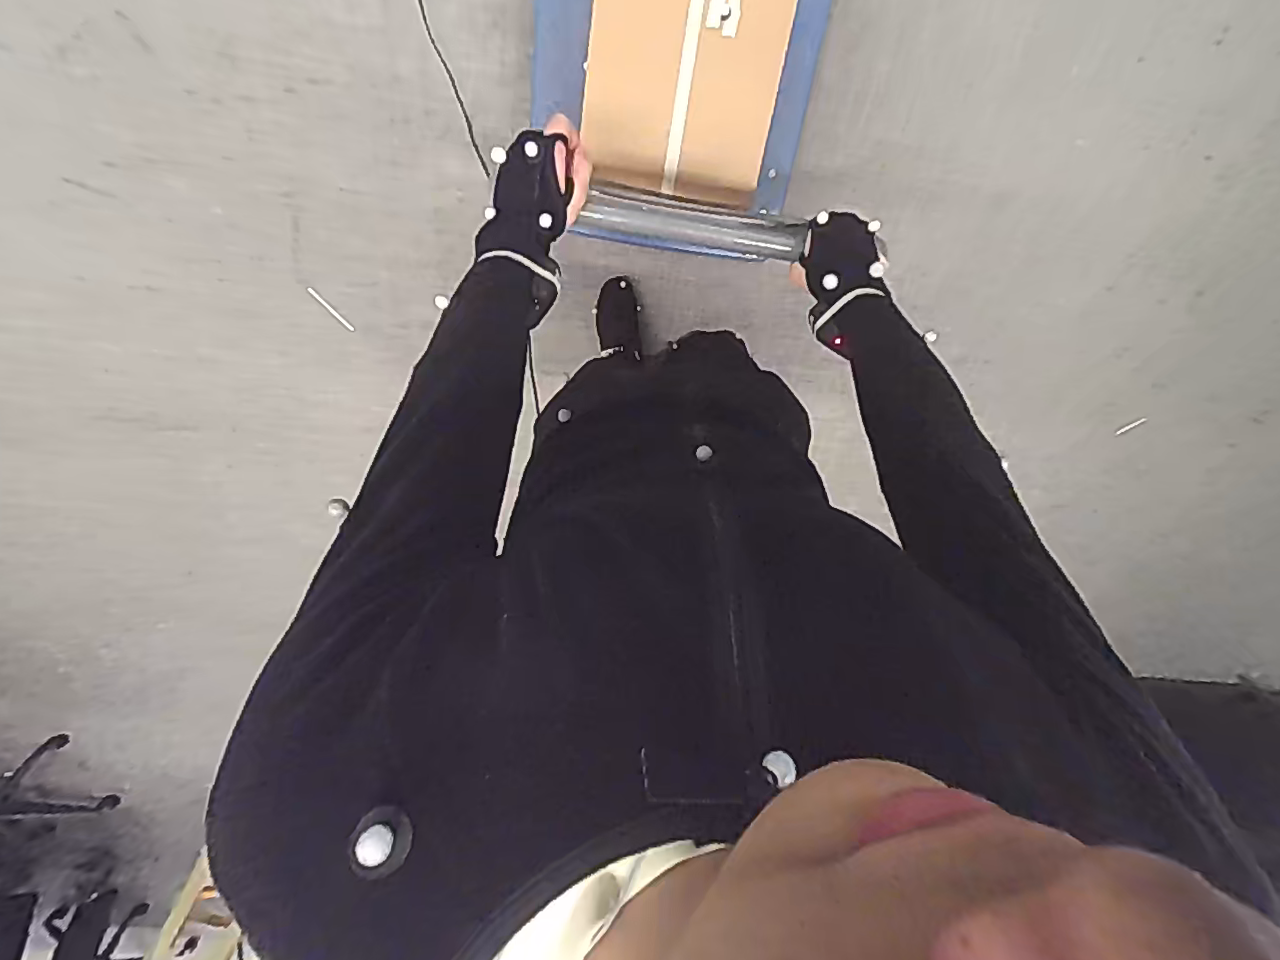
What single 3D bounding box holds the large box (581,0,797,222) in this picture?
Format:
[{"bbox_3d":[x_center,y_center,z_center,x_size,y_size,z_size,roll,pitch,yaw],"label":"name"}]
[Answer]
[{"bbox_3d":[0.072,-0.722,1.004,0.320,0.320,0.408,7,113,-6],"label":"large box"}]
